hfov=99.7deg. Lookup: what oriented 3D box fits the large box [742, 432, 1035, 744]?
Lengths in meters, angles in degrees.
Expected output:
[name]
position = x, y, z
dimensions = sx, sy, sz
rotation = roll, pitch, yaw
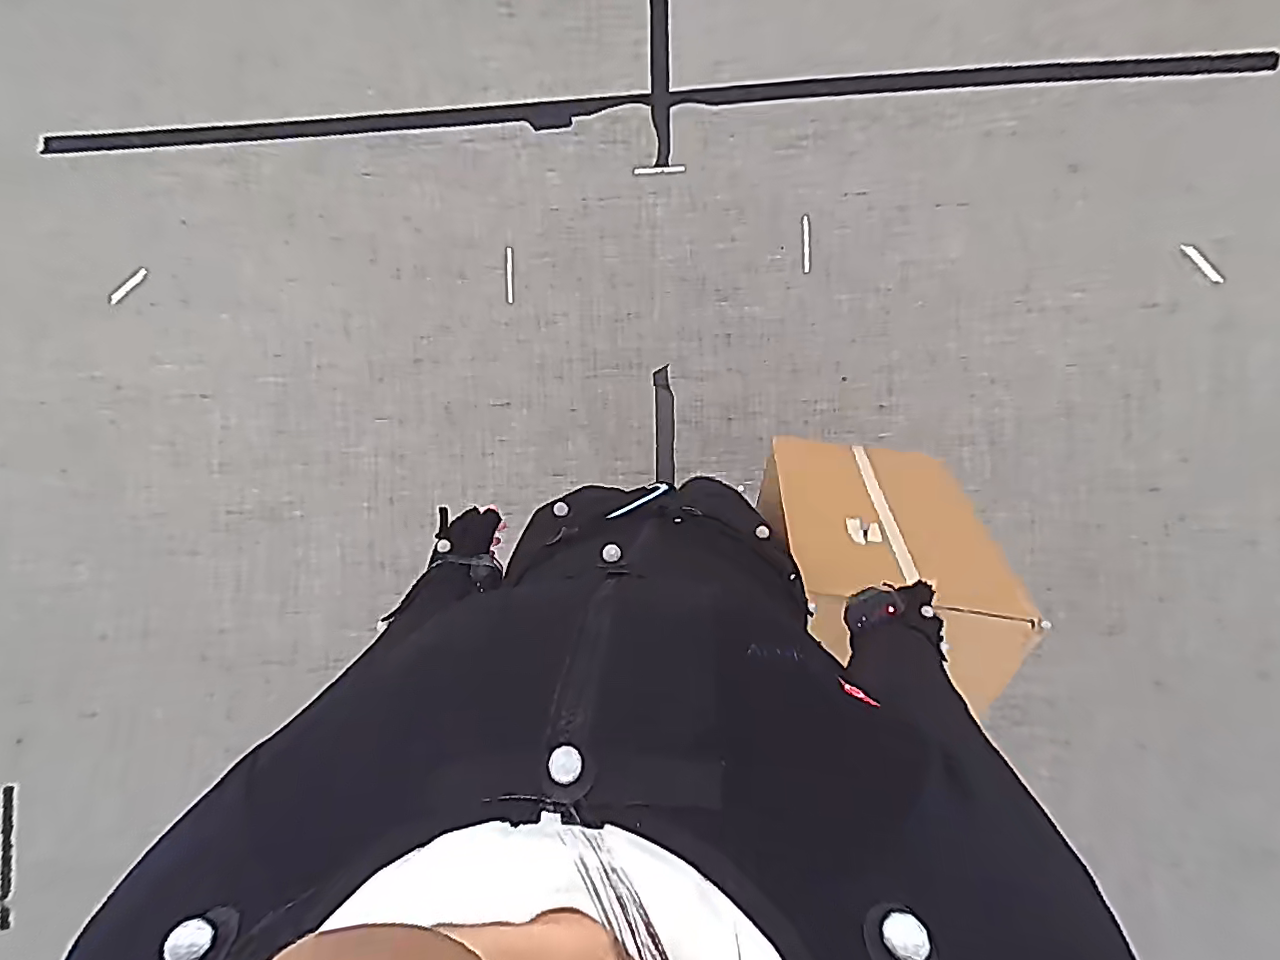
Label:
[large box]
position = 0.360, 0.165, 0.931
dimensions = 0.320, 0.408, 0.320
rotation = 7, 127, 5
